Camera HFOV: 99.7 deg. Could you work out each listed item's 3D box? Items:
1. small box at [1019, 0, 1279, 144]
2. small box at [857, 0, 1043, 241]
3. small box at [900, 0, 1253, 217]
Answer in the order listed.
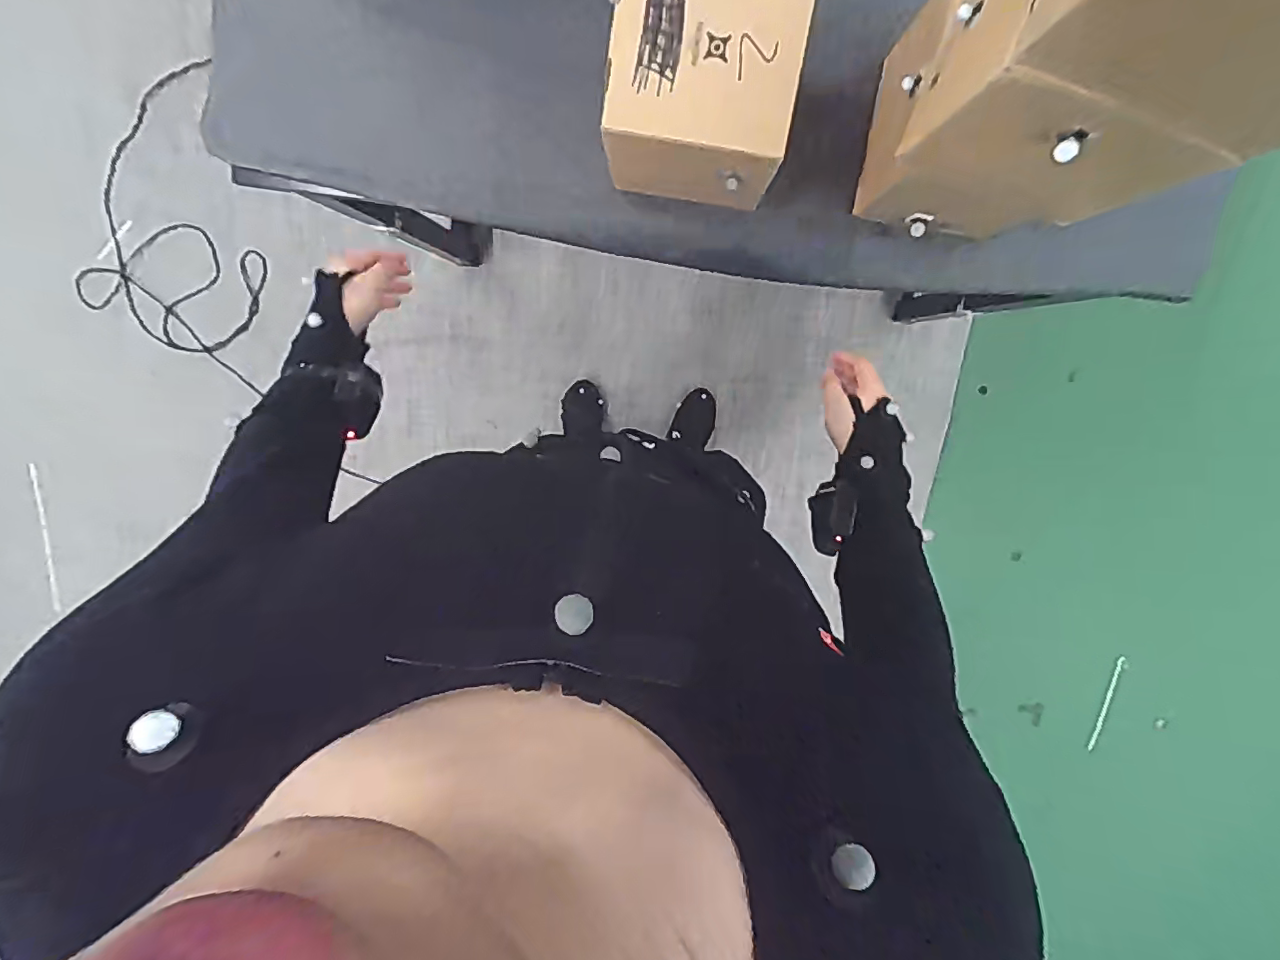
[{"bbox_3d":[0.338,-0.291,0.249,0.179,0.176,0.168,21,101,-1],"label":"small box"},{"bbox_3d":[0.348,-0.371,0.567,0.168,0.176,0.179,9,103,1],"label":"small box"},{"bbox_3d":[0.341,-0.323,0.411,0.179,0.176,0.168,19,102,-1],"label":"small box"}]
